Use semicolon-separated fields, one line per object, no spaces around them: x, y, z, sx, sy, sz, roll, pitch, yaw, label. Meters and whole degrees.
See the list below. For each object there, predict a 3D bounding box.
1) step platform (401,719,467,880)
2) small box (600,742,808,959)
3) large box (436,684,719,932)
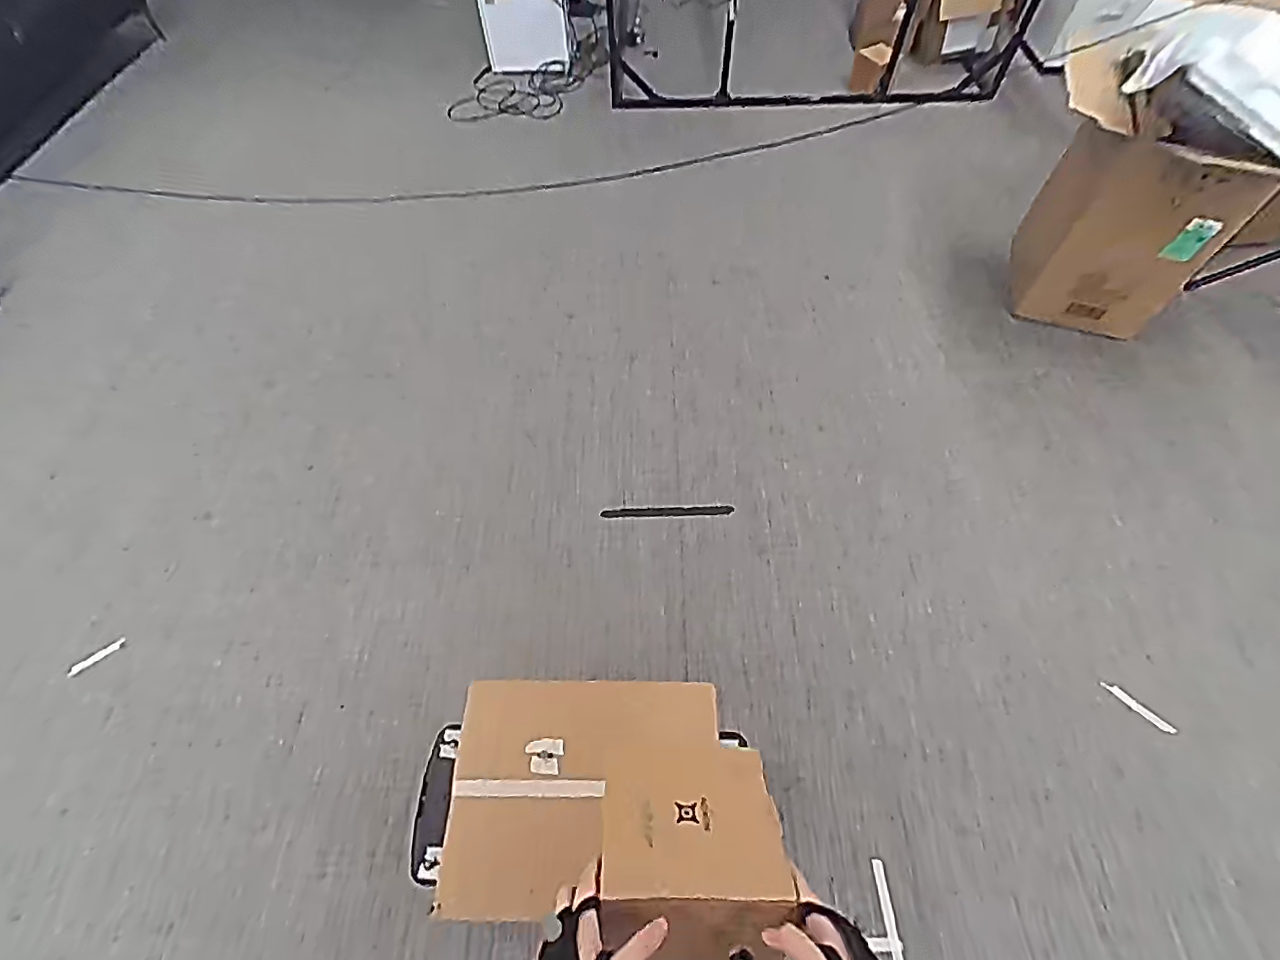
-0.118;0.685;1.114;0.684;0.204;0.286;4;58;5;step platform
0.052;0.400;0.555;0.179;0.176;0.168;2;21;-1;small box
-0.069;0.542;0.920;0.408;0.320;0.320;-1;57;2;large box
